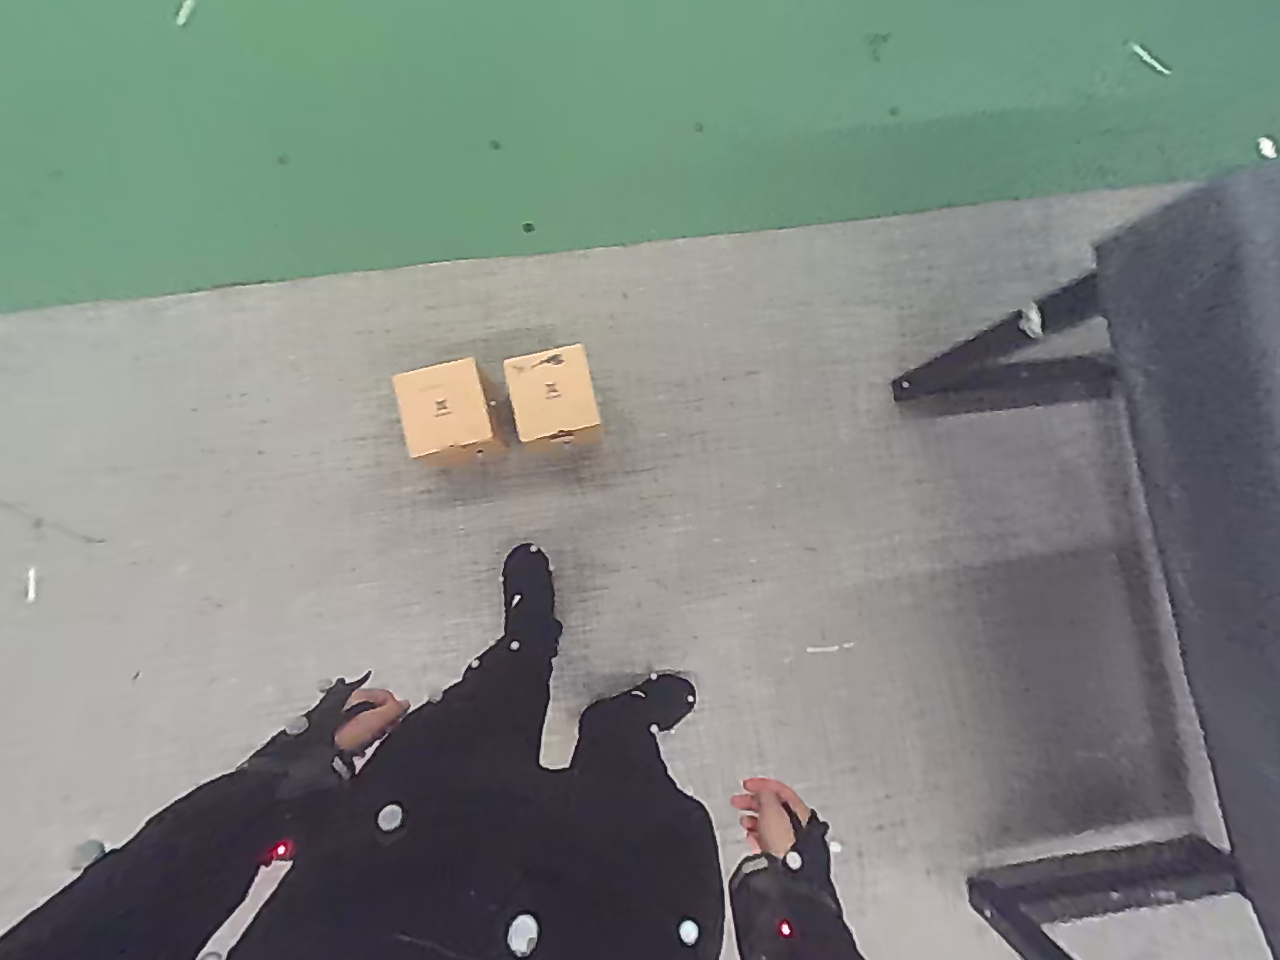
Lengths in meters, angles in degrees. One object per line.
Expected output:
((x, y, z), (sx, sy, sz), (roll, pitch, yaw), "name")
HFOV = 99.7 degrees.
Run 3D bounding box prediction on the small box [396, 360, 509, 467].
((-0.390, -0.131, 1.153), (0.168, 0.176, 0.179), (-15, 84, -5), "small box")
